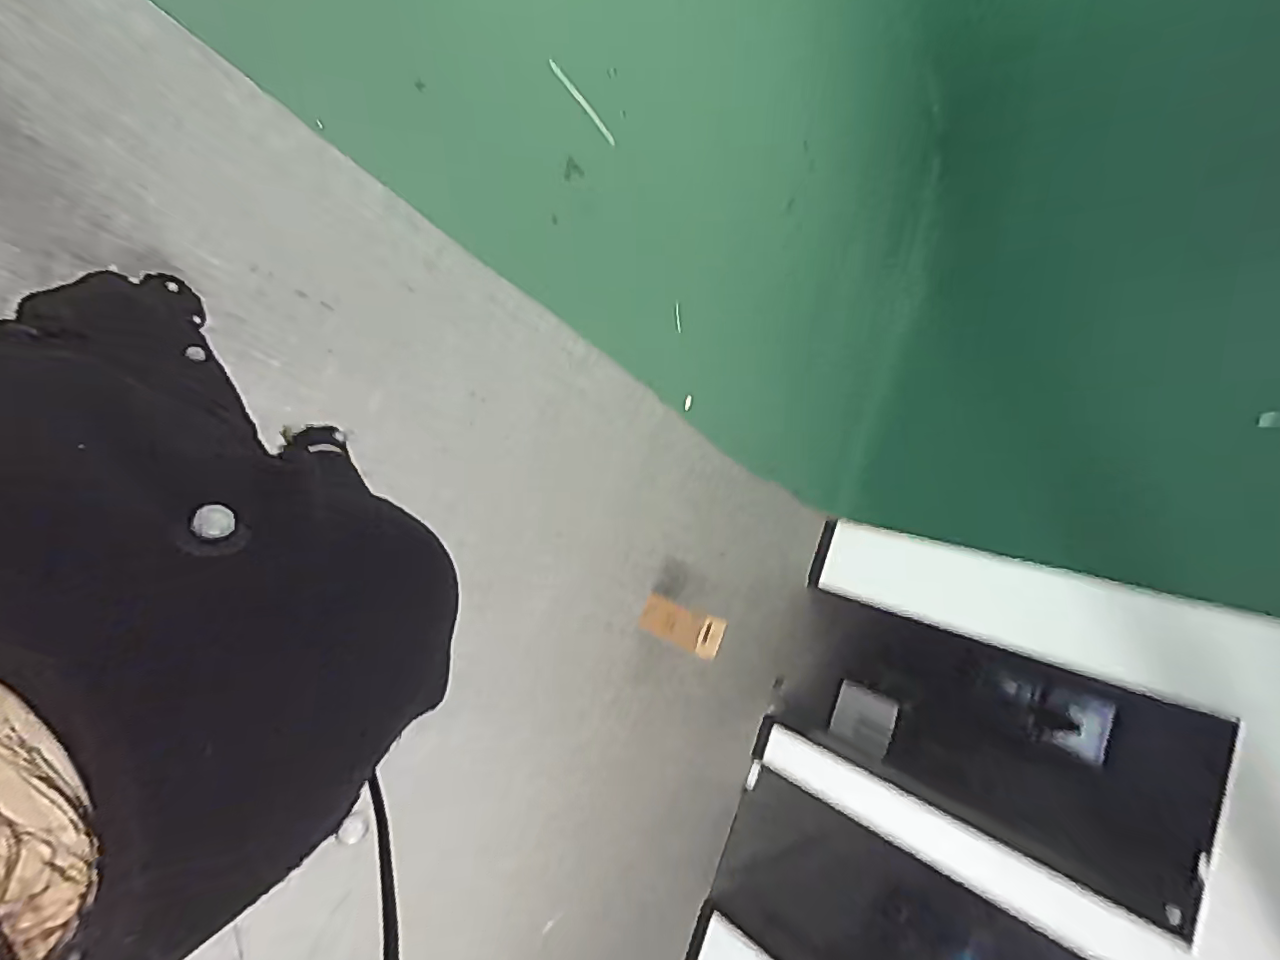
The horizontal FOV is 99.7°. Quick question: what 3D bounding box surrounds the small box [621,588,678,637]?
[{"bbox_3d":[0.043,0.608,2.493,0.179,0.176,0.168,30,77,-48],"label":"small box"}]
